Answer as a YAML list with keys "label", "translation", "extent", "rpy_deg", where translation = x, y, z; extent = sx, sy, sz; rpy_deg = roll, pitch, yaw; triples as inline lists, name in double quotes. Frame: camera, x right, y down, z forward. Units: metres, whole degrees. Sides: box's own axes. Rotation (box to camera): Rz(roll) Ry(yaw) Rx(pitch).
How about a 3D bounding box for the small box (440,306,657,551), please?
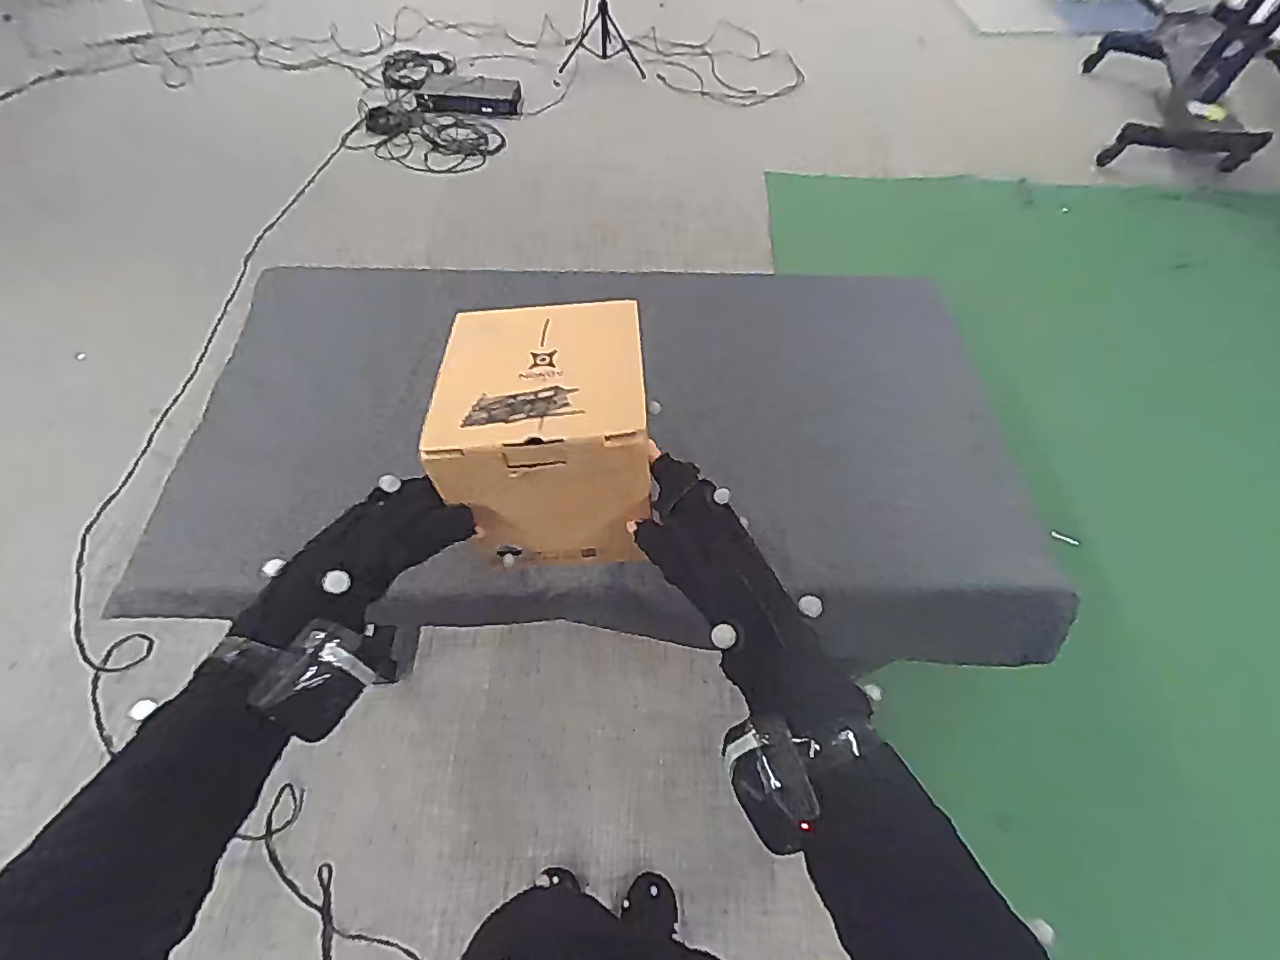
- label: "small box"
  translation: [-0.071, -0.041, 0.525]
  extent: [0.168, 0.176, 0.179]
  rpy_deg: [-4, 52, 1]
